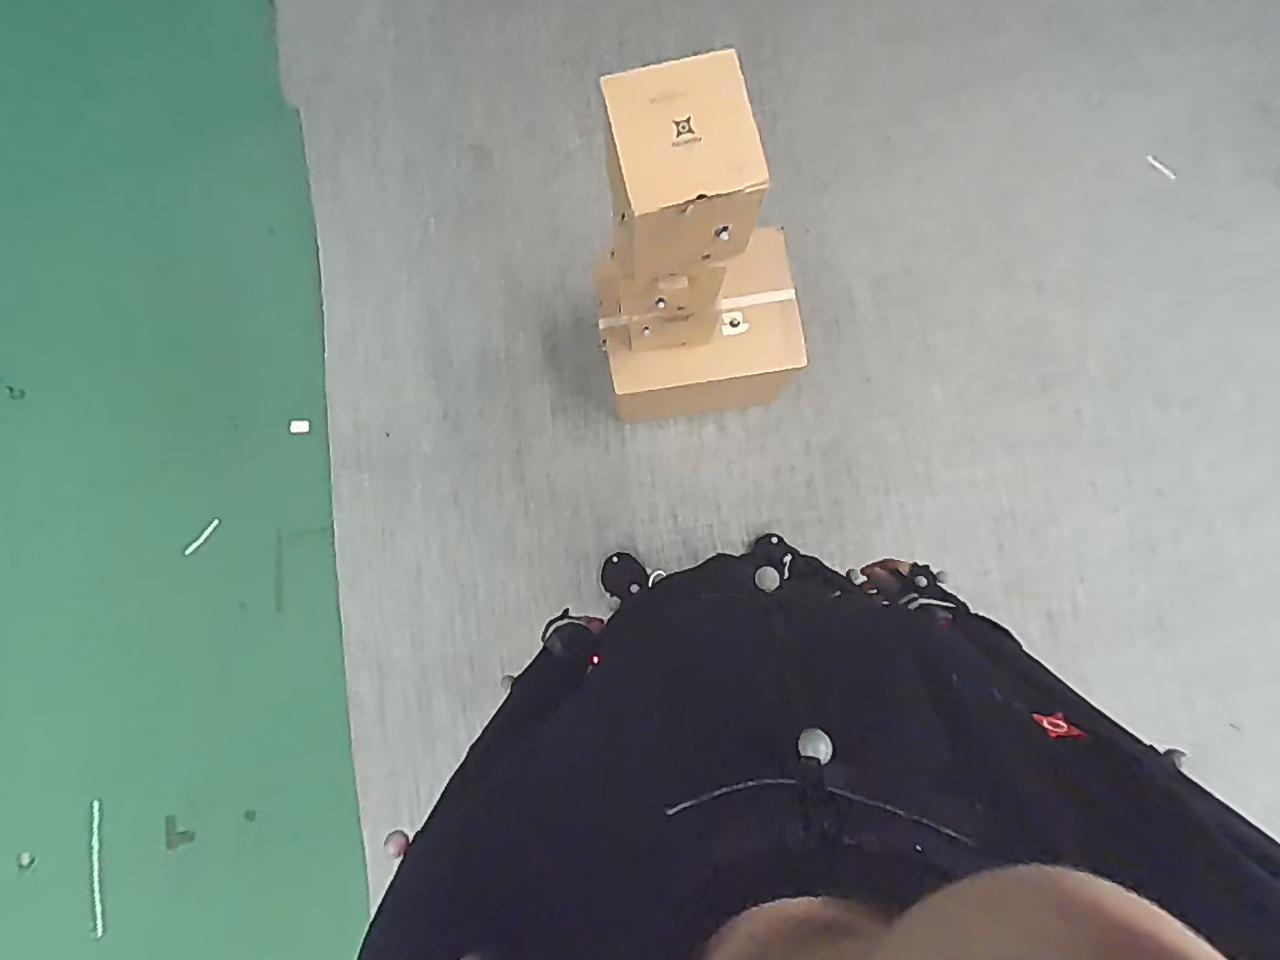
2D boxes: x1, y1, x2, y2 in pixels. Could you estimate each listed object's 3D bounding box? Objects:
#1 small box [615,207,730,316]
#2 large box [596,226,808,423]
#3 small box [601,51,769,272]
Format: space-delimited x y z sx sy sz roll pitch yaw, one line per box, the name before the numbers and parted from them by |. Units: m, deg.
small box | 0.044 -0.380 0.861 0.168 0.176 0.179 -3 85 0
large box | 0.124 -0.338 1.264 0.408 0.320 0.320 -9 85 -1
small box | 0.051 -0.391 0.699 0.168 0.176 0.179 -13 84 -2
